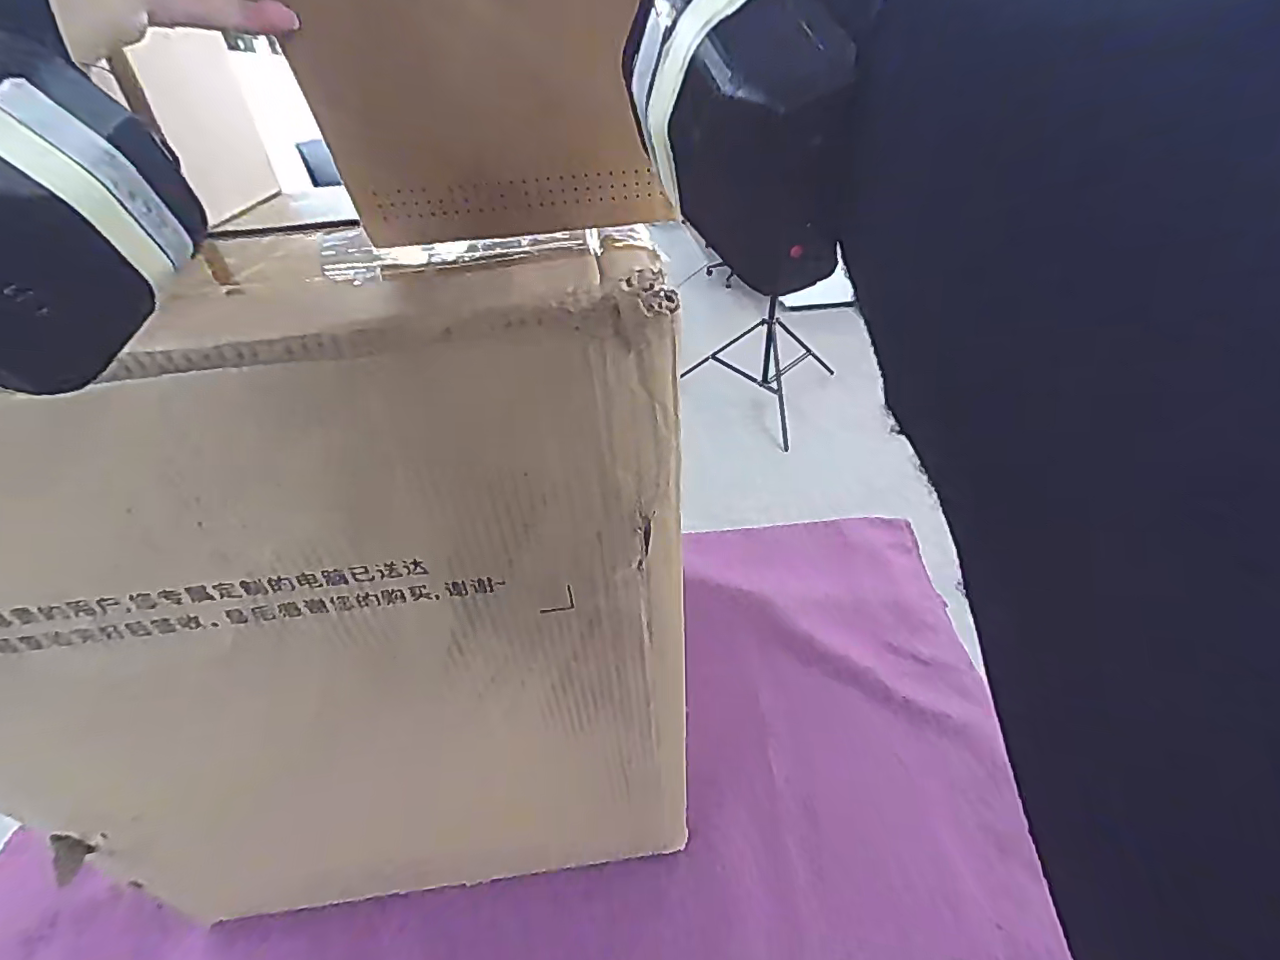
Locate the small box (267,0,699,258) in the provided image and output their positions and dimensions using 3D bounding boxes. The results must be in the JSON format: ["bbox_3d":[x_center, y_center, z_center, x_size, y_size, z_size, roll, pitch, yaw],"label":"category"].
[{"bbox_3d":[-0.064,-0.240,0.283,0.179,0.176,0.168,-5,55,0],"label":"small box"}]
